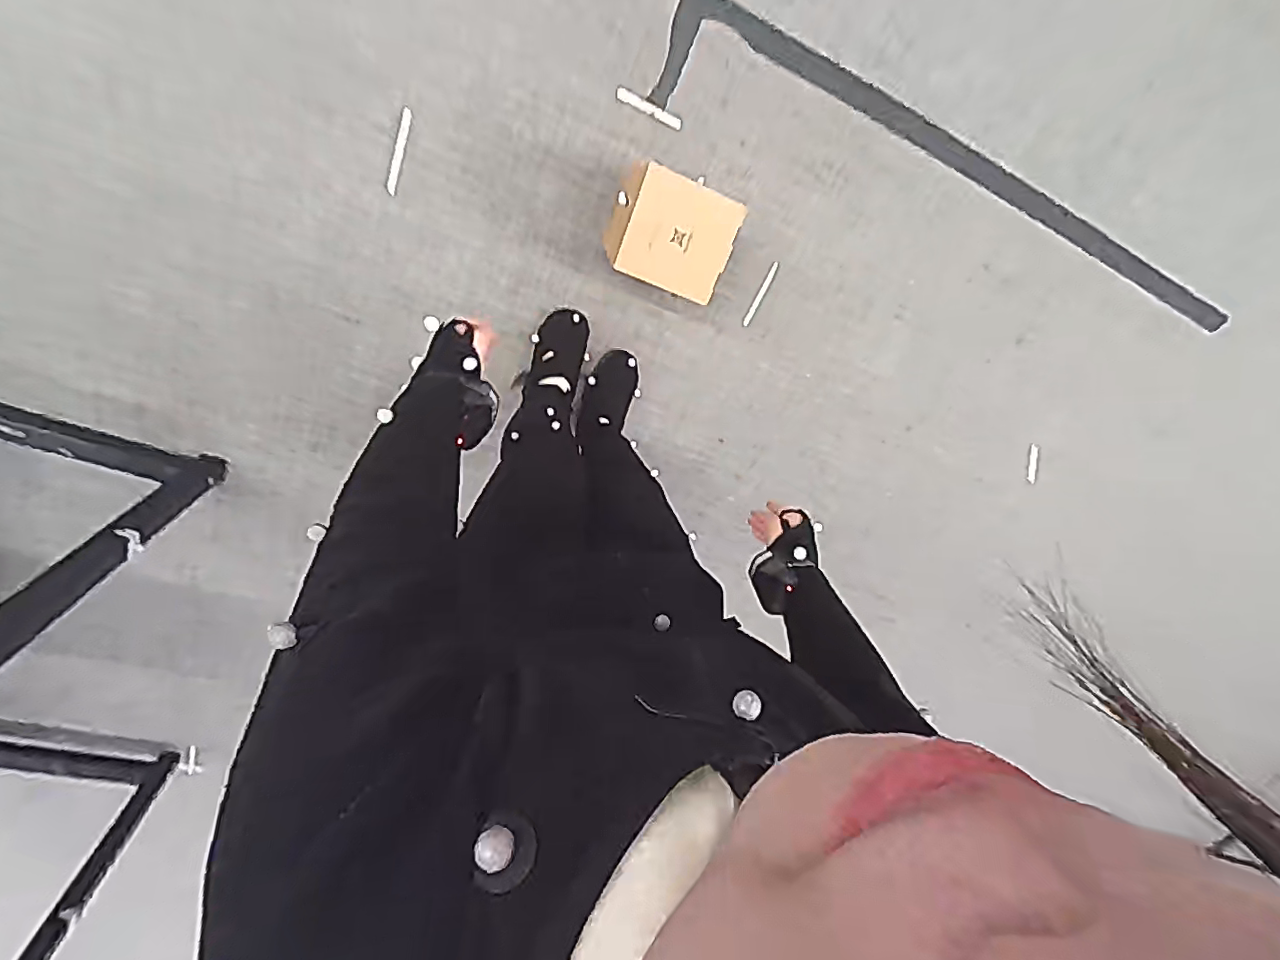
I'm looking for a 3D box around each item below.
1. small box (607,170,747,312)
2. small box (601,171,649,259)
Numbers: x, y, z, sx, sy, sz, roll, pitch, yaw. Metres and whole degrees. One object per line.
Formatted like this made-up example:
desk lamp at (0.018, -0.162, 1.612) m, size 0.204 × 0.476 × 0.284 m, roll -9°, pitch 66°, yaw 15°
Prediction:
small box at (0.053, -0.416, 0.938) m, size 0.179 × 0.176 × 0.168 m, roll 17°, pitch 114°, yaw -16°
small box at (0.034, -0.496, 1.080) m, size 0.179 × 0.176 × 0.168 m, roll 18°, pitch 114°, yaw -18°
